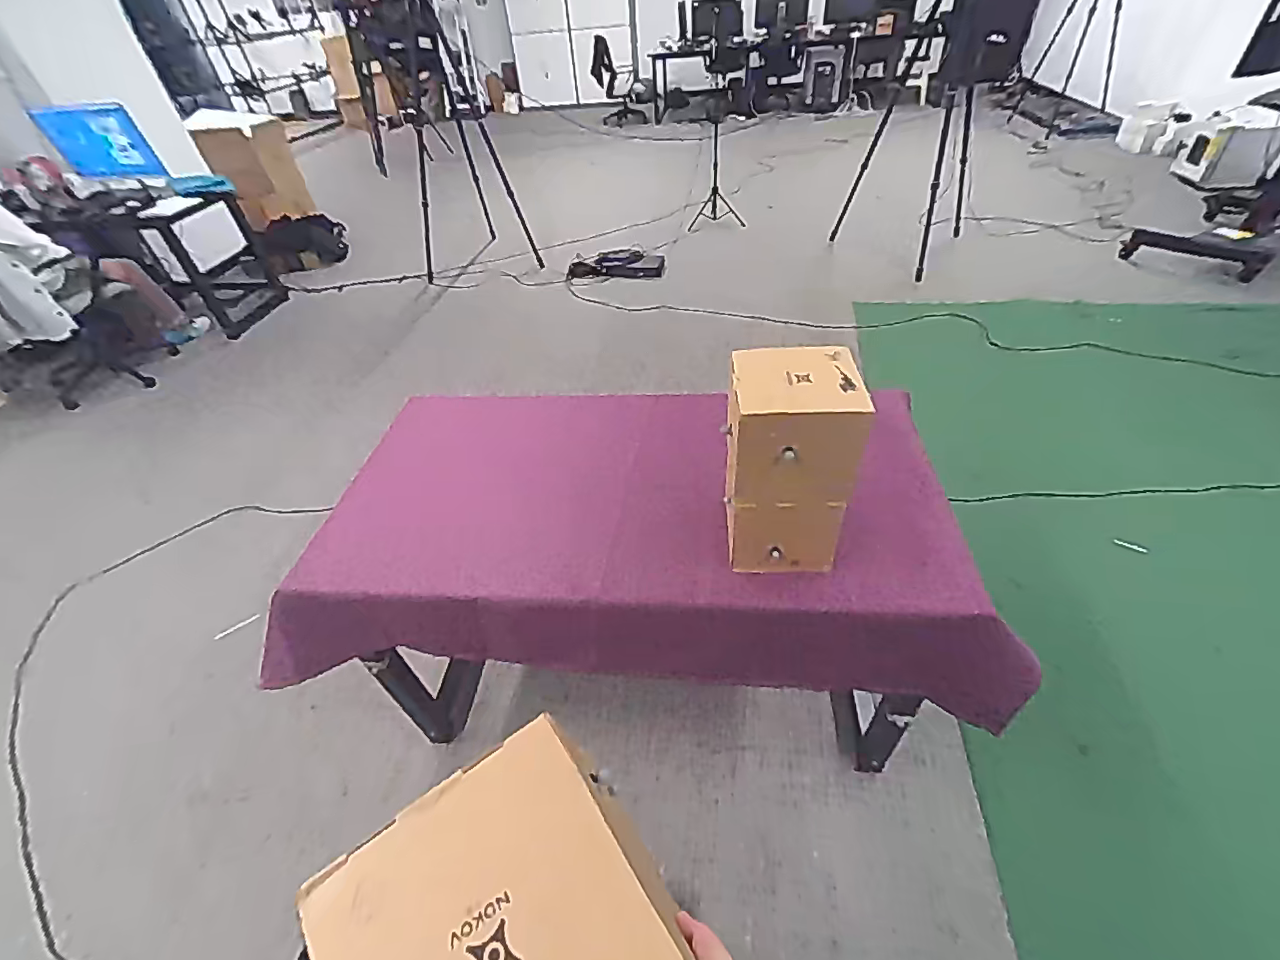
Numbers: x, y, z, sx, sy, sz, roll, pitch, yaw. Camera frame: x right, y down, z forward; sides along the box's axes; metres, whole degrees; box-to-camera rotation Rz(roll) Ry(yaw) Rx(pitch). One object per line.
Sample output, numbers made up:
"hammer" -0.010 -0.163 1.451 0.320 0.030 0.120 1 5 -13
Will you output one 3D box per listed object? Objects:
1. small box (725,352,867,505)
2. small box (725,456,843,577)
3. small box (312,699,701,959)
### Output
"small box" 0.222 -0.074 0.818 0.179 0.176 0.168 -2 43 6
"small box" 0.234 0.045 0.931 0.168 0.176 0.179 -1 43 5
"small box" -0.077 0.287 0.365 0.168 0.176 0.179 -30 60 -17
